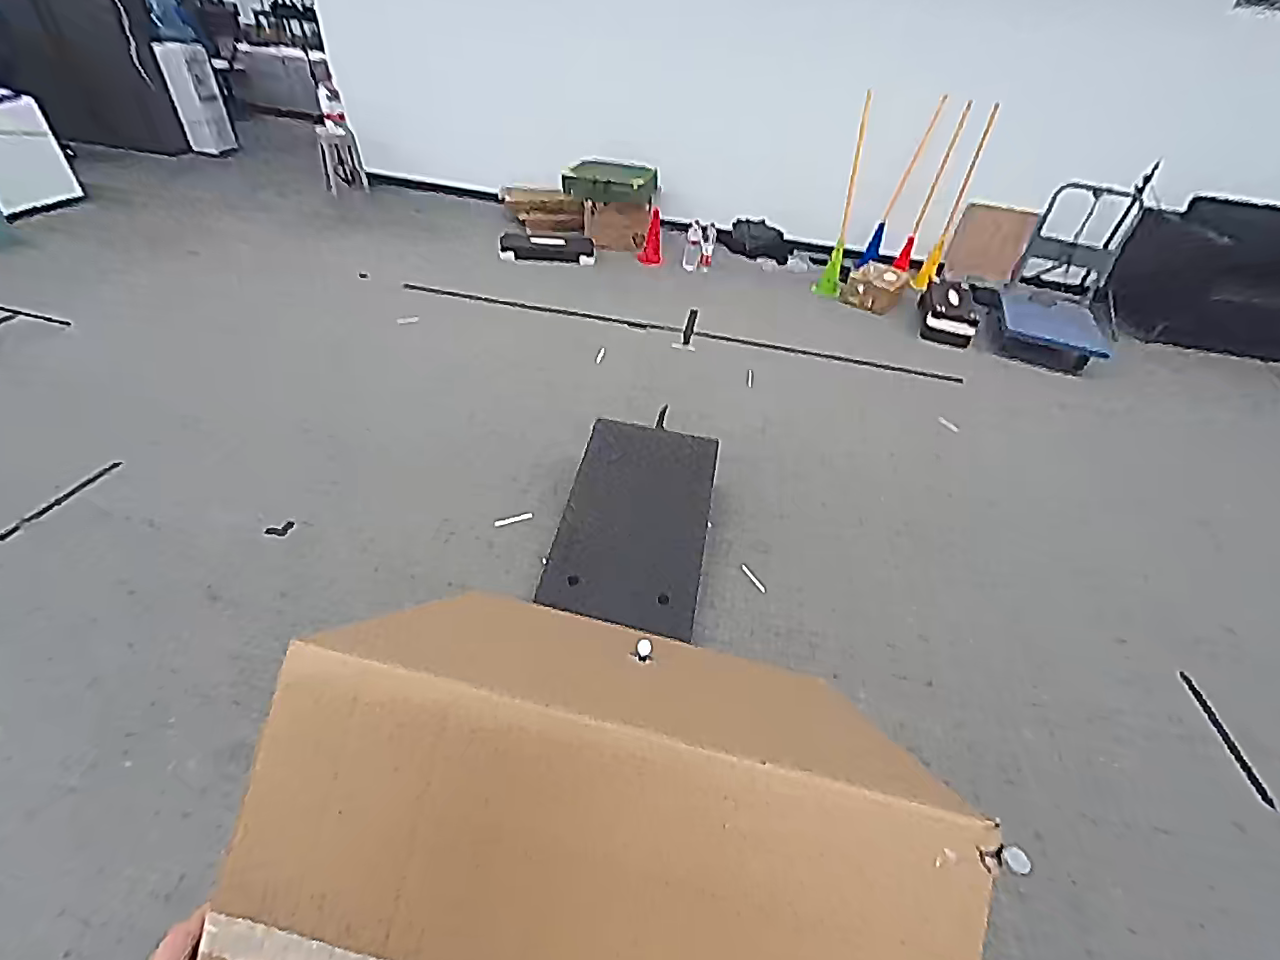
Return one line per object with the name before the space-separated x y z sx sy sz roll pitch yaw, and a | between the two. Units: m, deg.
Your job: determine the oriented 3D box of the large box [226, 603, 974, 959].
large box | -0.034 0.308 0.446 0.408 0.320 0.320 13 86 3
